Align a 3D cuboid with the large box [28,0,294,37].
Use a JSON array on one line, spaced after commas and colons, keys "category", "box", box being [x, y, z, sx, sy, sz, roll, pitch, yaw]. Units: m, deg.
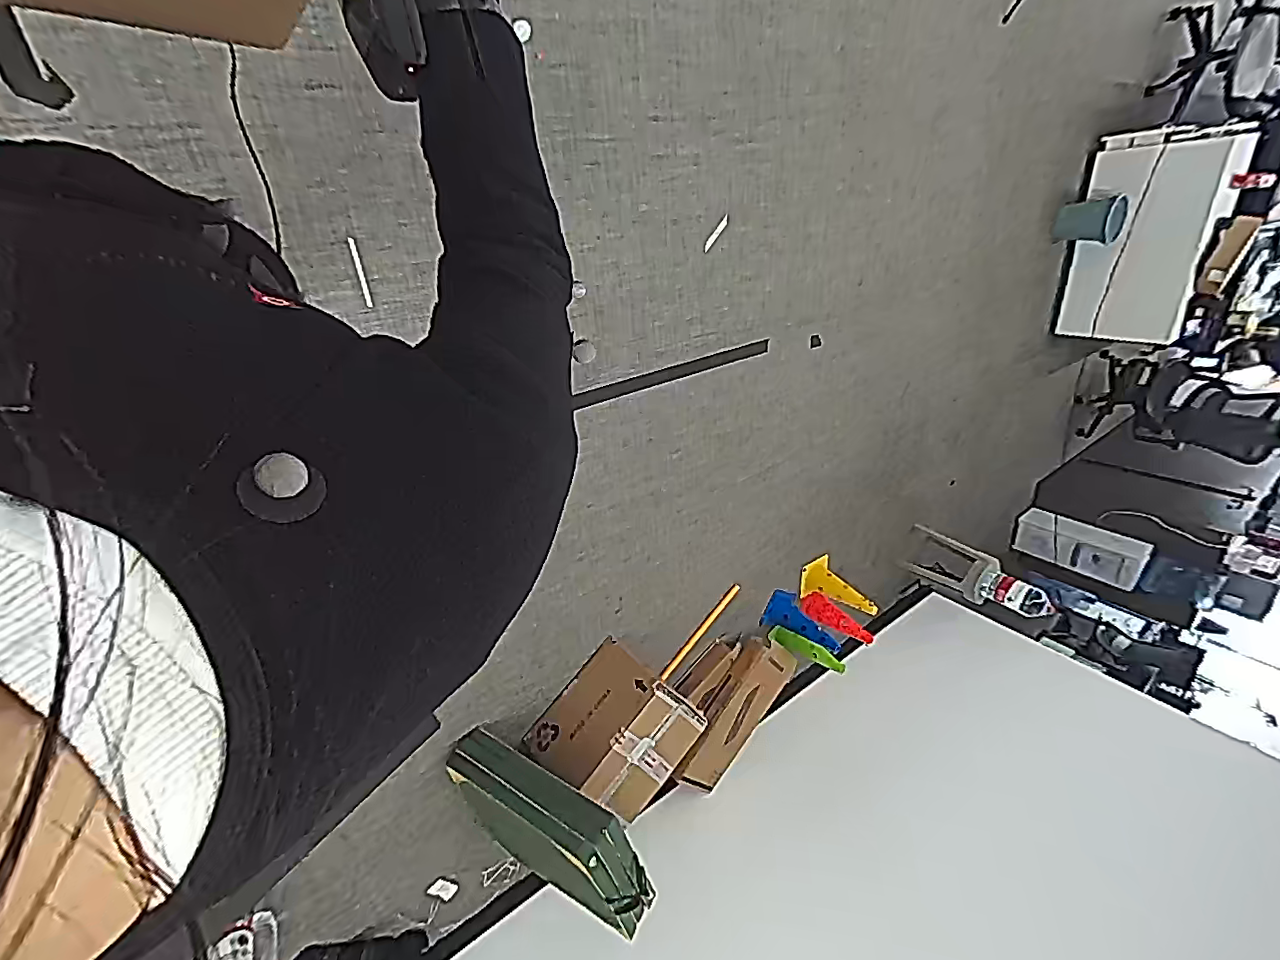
[{"category": "large box", "box": [-0.408, -0.444, 0.229, 0.408, 0.320, 0.320, -17, 123, -33]}]
